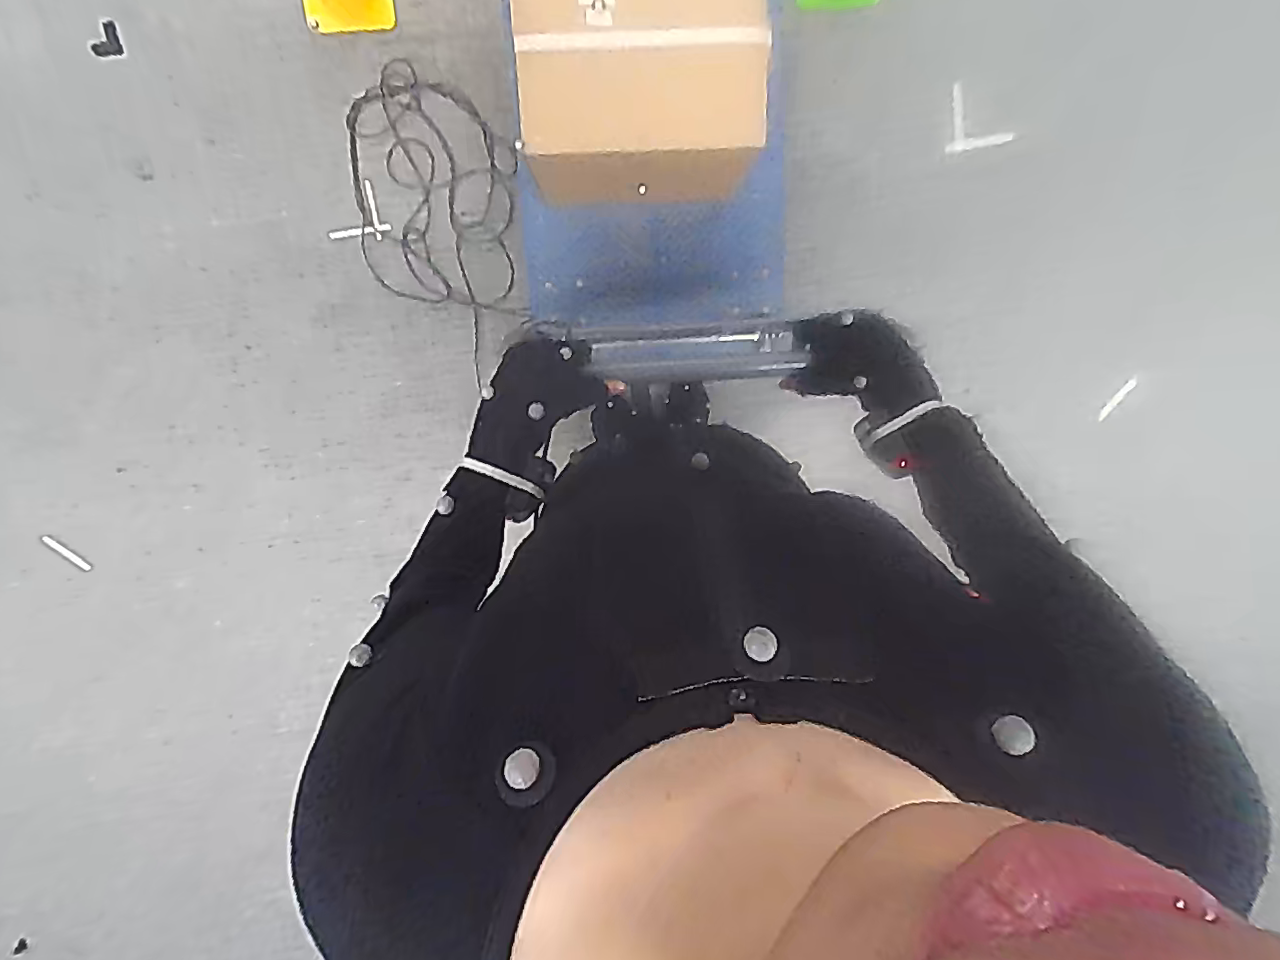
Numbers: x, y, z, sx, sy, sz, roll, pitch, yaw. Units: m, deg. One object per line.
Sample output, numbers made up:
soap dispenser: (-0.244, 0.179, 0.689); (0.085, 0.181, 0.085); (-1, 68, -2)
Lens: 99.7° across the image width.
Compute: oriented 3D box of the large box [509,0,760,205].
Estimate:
large box: (-0.007, -0.726, 1.012); (0.408, 0.320, 0.320); (-3, 102, -1)

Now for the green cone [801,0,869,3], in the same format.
green cone: (0.465, -1.187, 1.085); (0.202, 0.368, 0.200); (-4, 102, -3)
